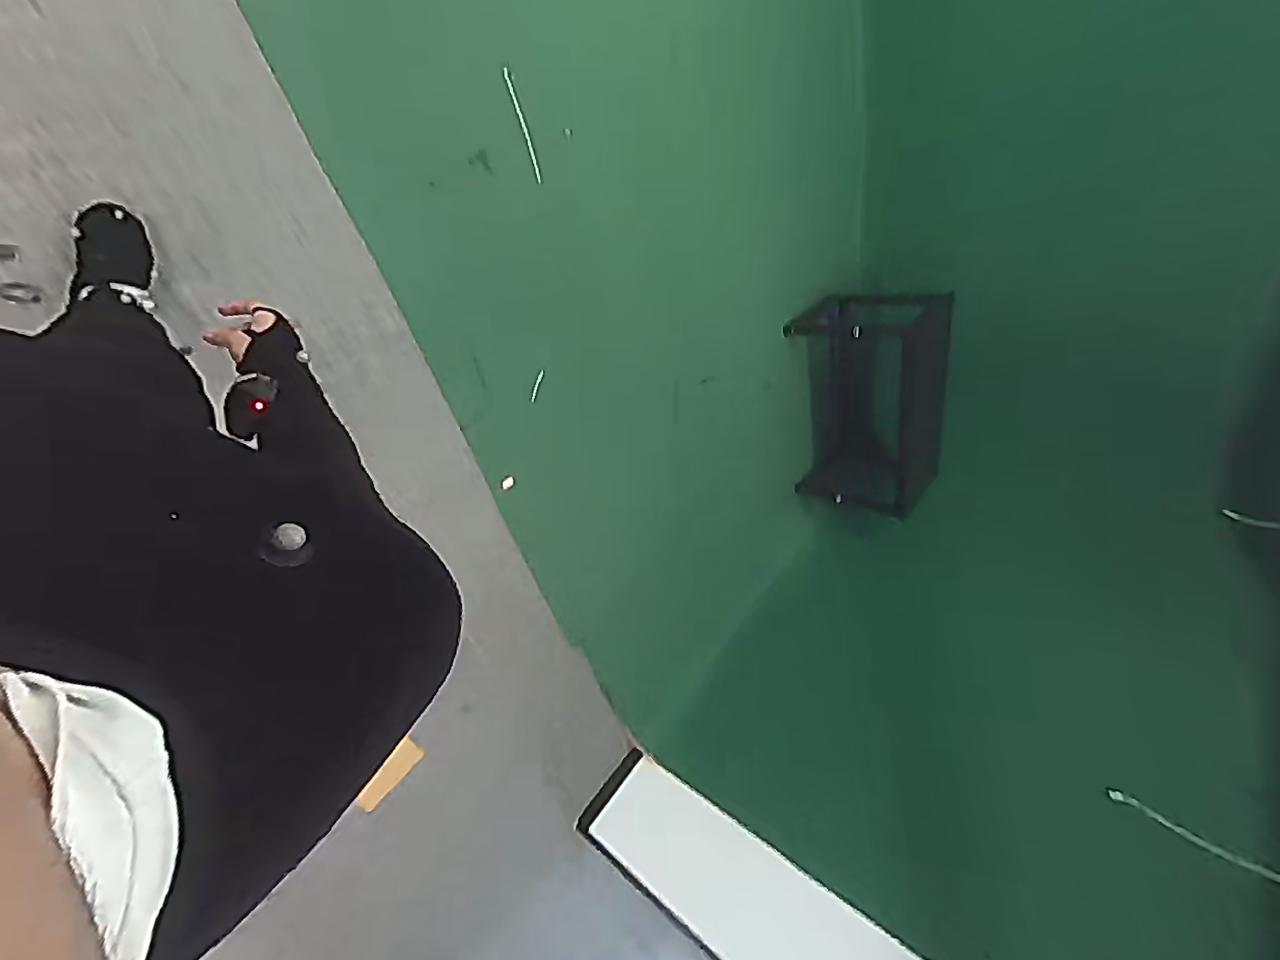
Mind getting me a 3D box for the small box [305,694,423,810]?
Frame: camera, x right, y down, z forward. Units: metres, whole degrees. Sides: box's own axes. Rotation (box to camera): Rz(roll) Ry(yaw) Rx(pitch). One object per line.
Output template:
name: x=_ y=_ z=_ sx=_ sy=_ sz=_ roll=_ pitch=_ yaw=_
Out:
small box: x=-0.686 y=0.663 z=1.341 sx=0.168 sy=0.176 sz=0.179 roll=-44 pitch=133 yaw=-30
